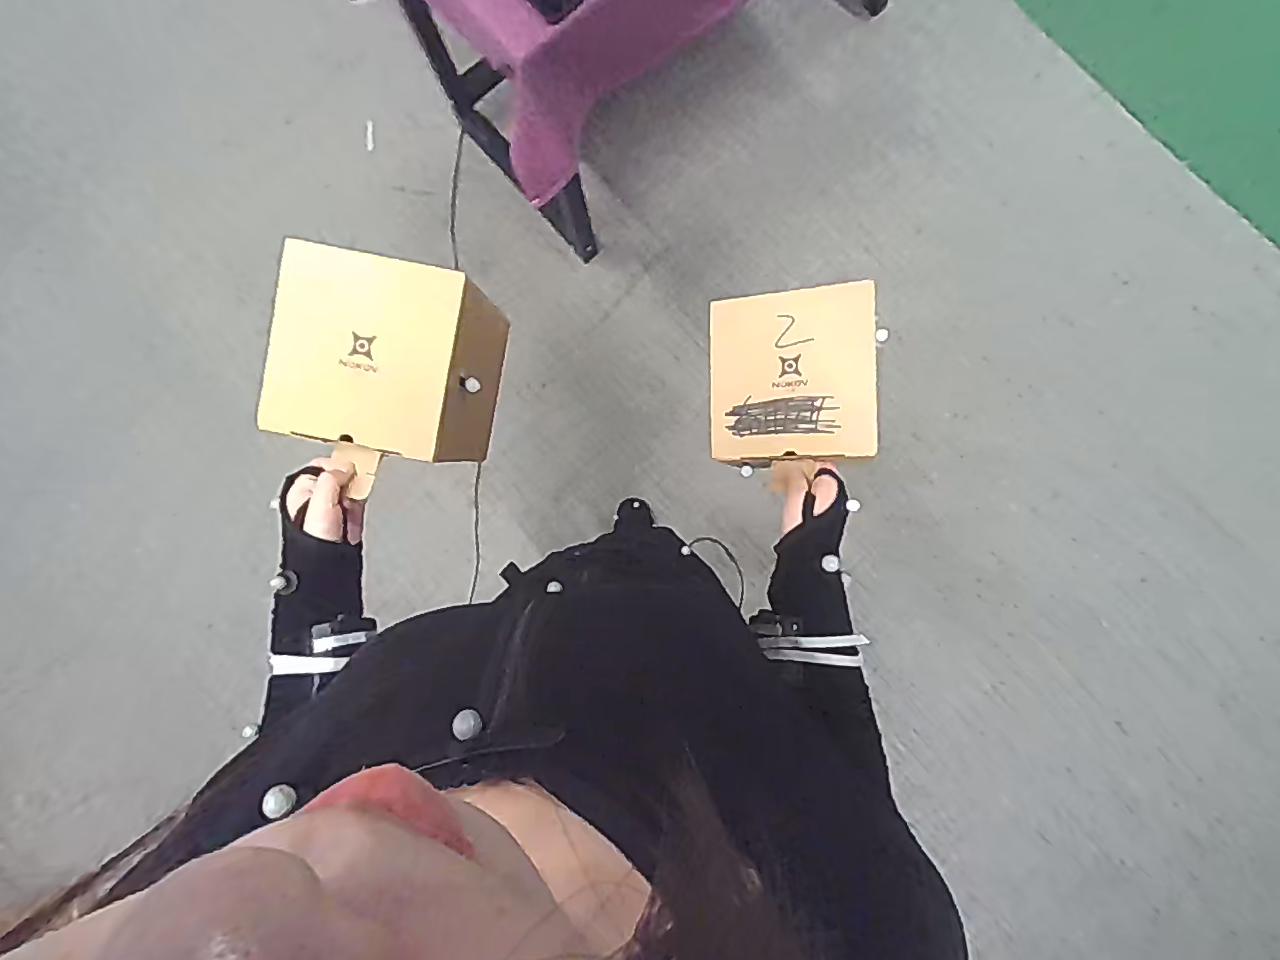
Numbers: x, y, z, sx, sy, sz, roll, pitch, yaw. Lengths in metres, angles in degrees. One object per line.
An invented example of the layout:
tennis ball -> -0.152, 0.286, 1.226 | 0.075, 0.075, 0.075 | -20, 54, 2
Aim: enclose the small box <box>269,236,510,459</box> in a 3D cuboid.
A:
small box -> -0.246, -0.126, 0.577 | 0.168, 0.176, 0.179 | 12, 94, -1
